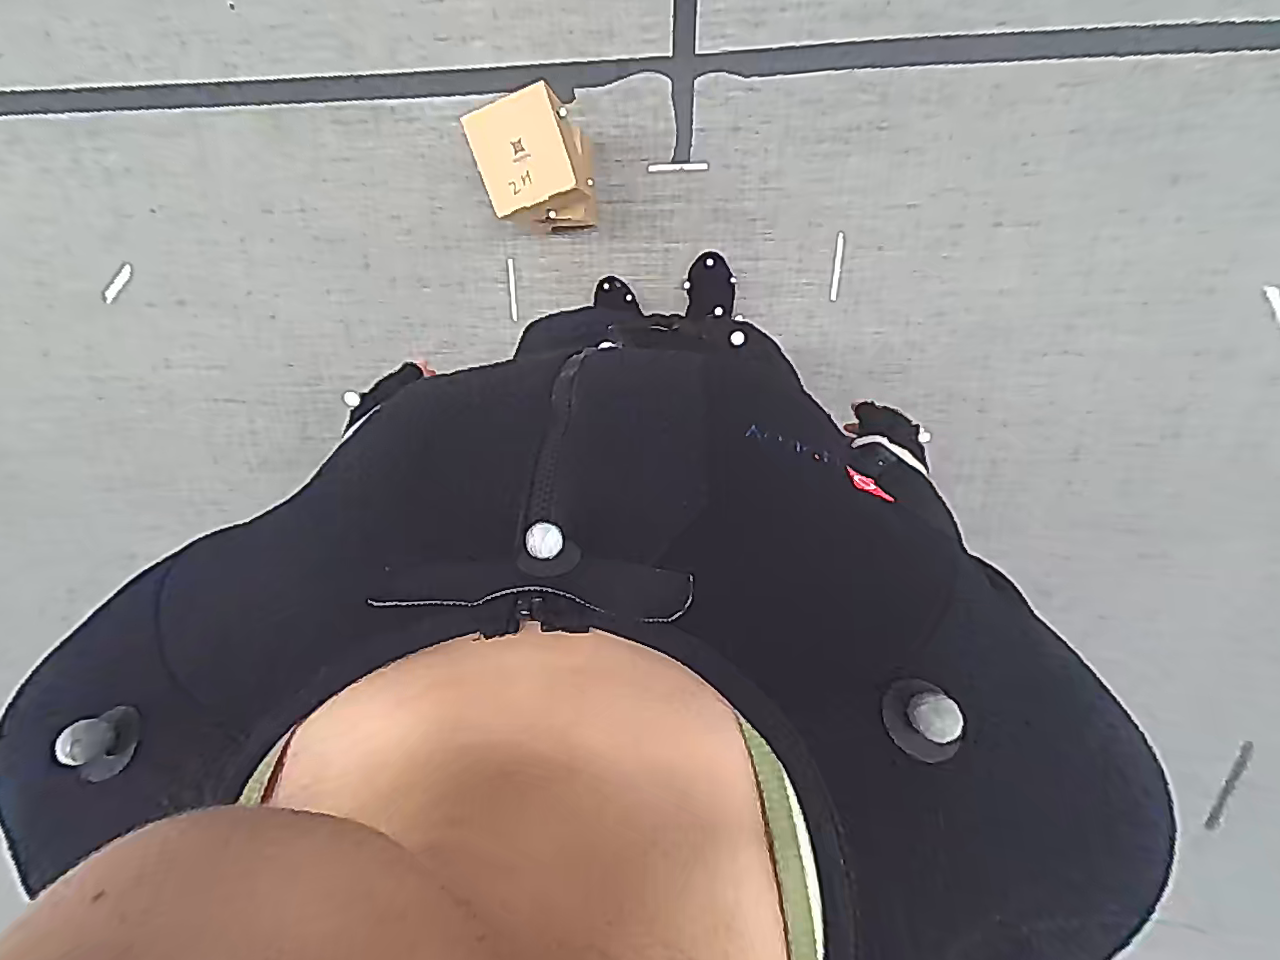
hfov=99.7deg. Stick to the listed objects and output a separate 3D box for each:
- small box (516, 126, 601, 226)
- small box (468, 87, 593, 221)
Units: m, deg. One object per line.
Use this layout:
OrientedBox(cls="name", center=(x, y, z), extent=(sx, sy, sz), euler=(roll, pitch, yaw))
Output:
OrientedBox(cls="small box", center=(-0.183, -0.670, 1.210), extent=(0.168, 0.176, 0.179), euler=(0, 111, 6))
OrientedBox(cls="small box", center=(-0.203, -0.621, 1.054), extent=(0.168, 0.176, 0.179), euler=(-11, 112, 11))
